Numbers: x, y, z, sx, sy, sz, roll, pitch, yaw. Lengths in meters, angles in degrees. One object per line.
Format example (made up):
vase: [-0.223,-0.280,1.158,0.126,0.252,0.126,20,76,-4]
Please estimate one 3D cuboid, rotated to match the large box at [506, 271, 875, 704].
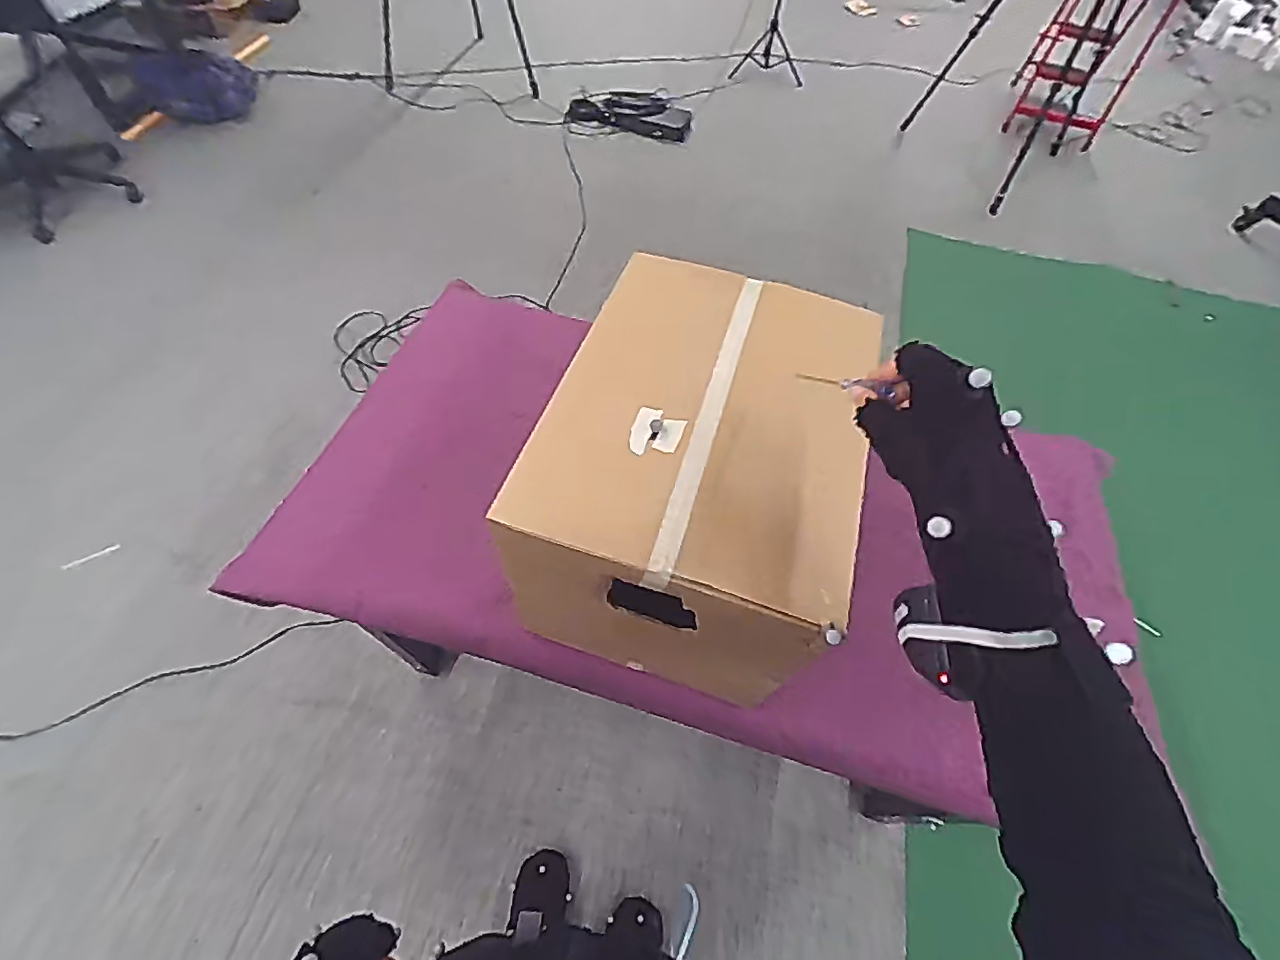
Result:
large box: [0.070,0.014,0.694,0.320,0.320,0.408,17,58,7]
